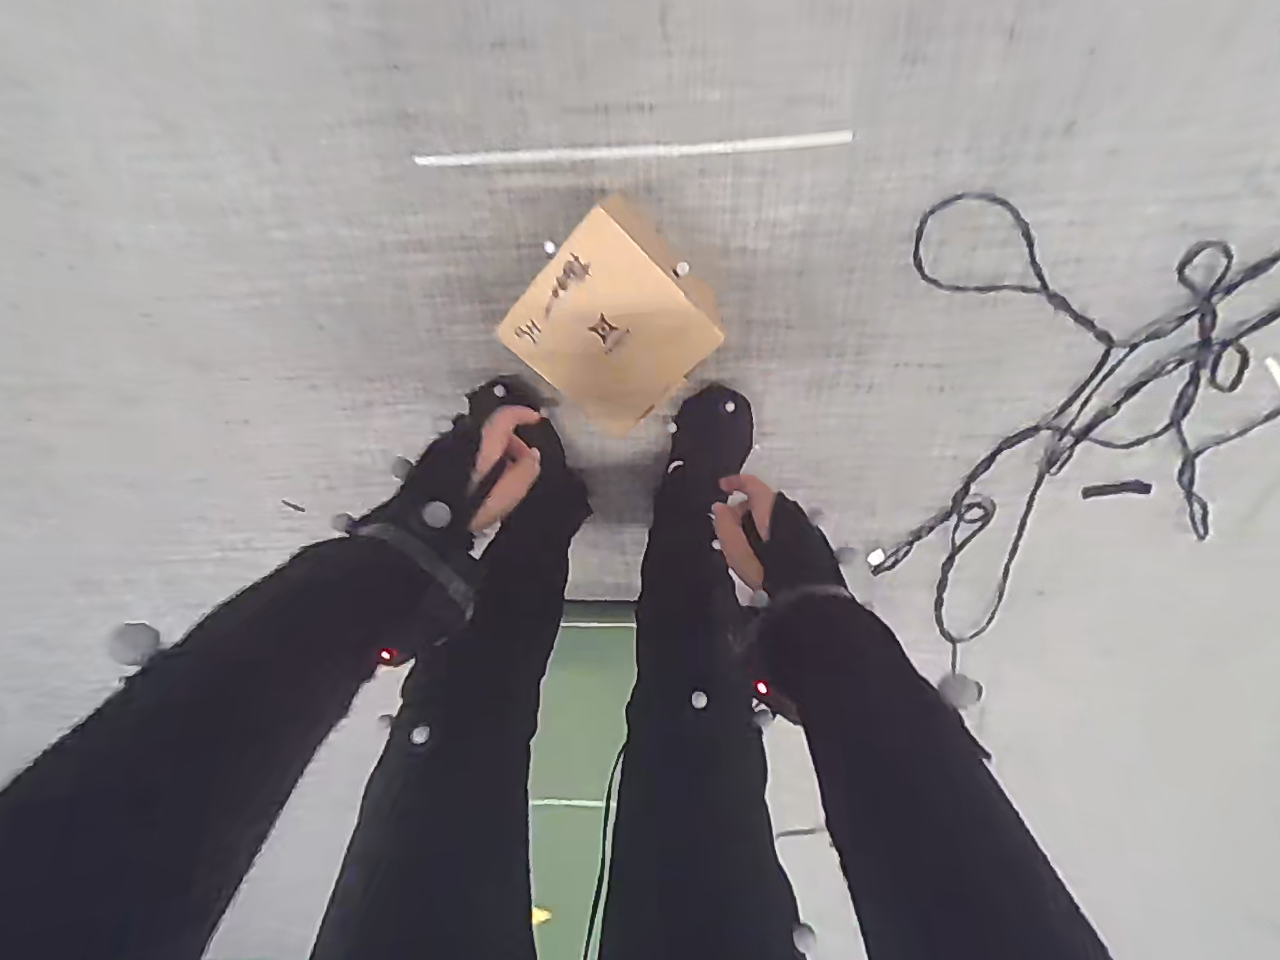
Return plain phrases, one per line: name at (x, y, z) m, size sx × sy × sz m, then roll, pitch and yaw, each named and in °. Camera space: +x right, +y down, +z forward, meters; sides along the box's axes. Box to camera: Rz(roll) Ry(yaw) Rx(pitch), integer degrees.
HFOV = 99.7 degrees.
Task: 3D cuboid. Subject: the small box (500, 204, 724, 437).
small box at (-0.025, -0.189, 0.624) m, size 0.179 × 0.176 × 0.168 m, roll 40°, pitch 115°, yaw -20°
